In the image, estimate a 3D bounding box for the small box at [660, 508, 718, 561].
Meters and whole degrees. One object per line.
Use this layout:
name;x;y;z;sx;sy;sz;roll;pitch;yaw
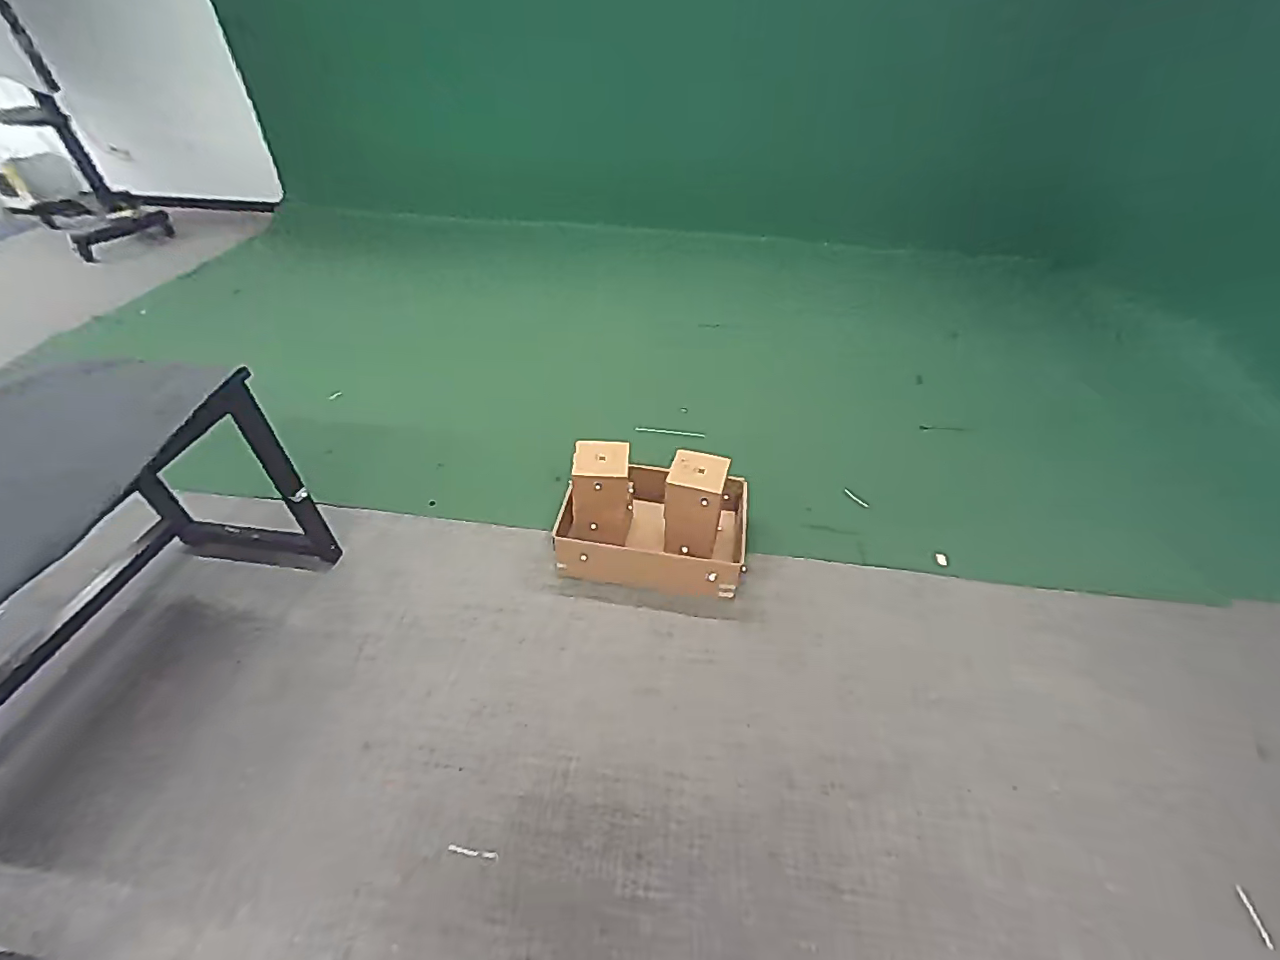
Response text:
small box;0.168;0.145;1.846;0.168;0.176;0.179;12;46;11

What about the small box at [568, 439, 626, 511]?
small box;-0.137;-0.014;1.759;0.179;0.176;0.168;3;45;-2

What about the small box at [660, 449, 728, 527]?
small box;0.171;0.029;1.728;0.179;0.176;0.168;12;45;12
